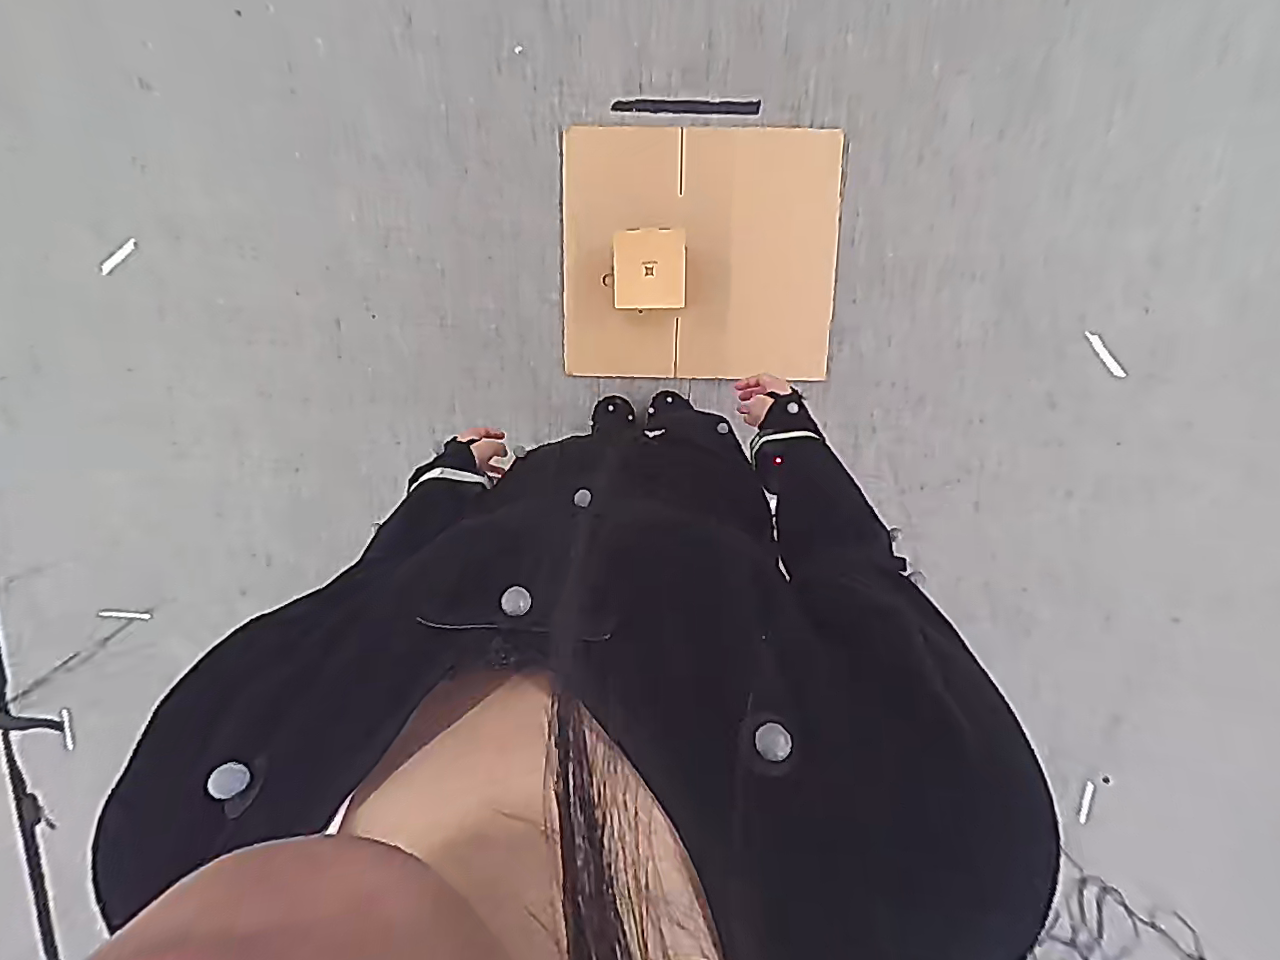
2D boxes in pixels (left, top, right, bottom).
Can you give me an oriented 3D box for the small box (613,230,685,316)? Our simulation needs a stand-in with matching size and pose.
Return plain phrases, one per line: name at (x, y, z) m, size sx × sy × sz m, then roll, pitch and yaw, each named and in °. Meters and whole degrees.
small box at (0.023, -0.495, 1.315) m, size 0.168 × 0.176 × 0.179 m, roll -1°, pitch 100°, yaw 1°
